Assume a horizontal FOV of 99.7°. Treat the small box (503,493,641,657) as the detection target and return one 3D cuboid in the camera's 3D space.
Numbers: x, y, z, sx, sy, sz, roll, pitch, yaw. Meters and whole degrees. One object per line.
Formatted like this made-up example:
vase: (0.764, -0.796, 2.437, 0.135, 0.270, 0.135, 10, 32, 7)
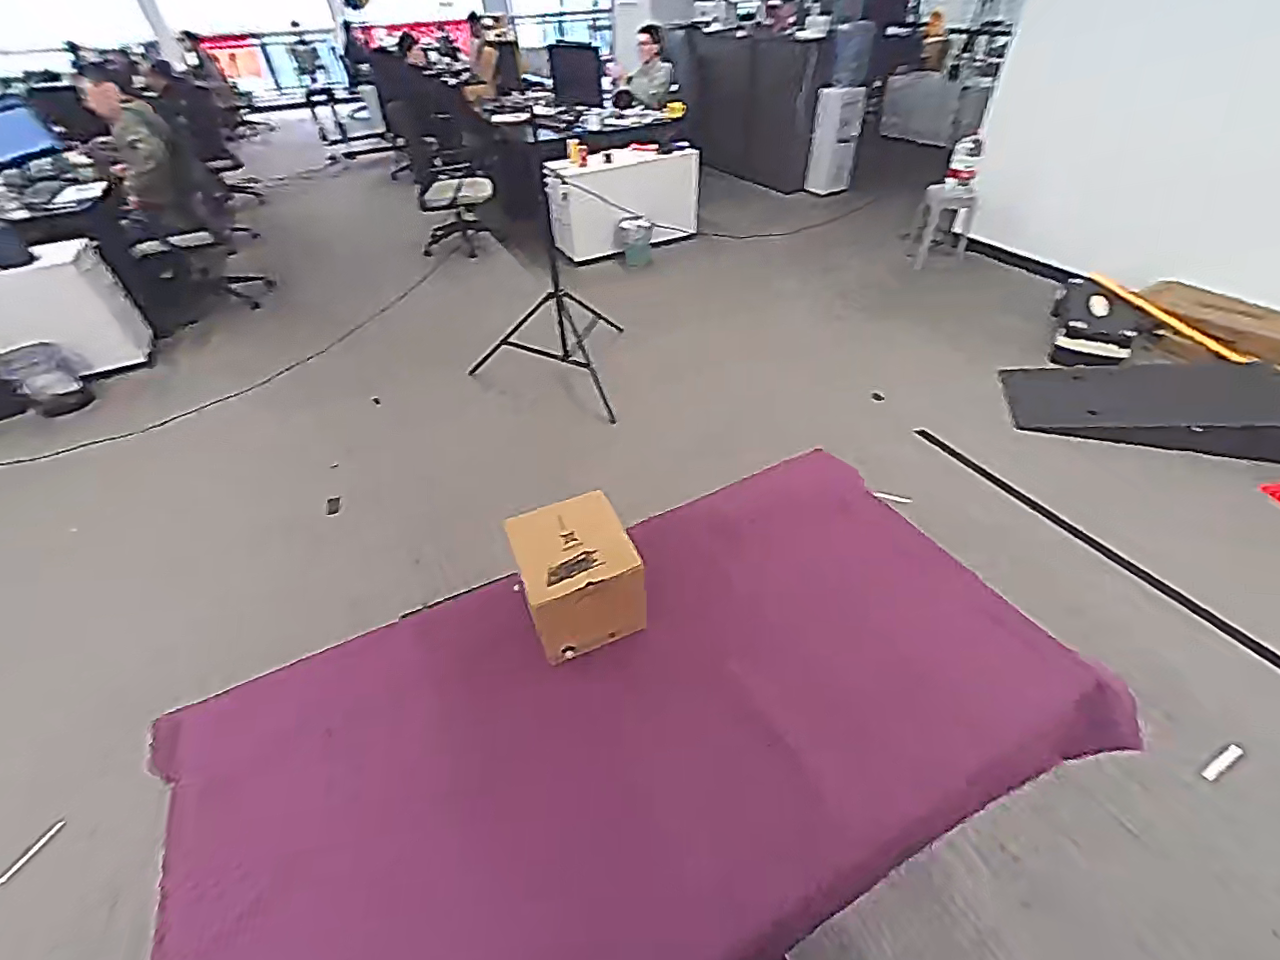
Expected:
small box: (-0.103, 0.156, 0.861, 0.168, 0.176, 0.179, -18, 45, -16)
